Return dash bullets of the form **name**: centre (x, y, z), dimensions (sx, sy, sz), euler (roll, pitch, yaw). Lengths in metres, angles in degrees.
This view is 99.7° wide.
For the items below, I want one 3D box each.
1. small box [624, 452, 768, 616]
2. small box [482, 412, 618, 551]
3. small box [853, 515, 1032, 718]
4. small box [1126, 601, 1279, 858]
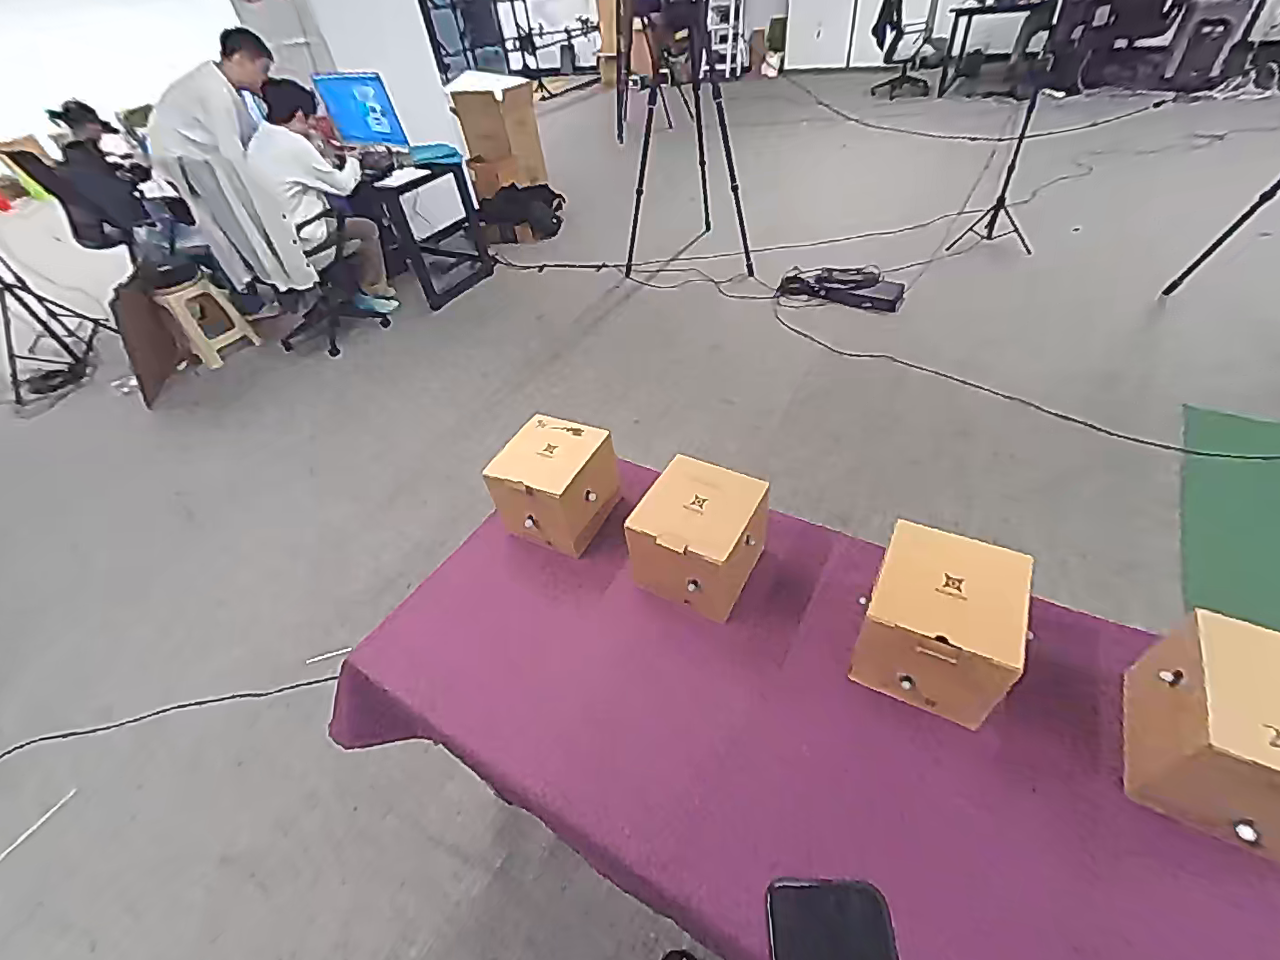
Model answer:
- **small box**: centre (0.097, 0.089, 0.879), dimensions (0.168, 0.176, 0.179), euler (20, 51, 25)
- **small box**: centre (-0.154, 0.005, 1.005), dimensions (0.168, 0.176, 0.179), euler (16, 51, 23)
- **small box**: centre (0.400, 0.183, 0.732), dimensions (0.168, 0.176, 0.179), euler (17, 51, 25)
- **small box**: centre (0.670, 0.272, 0.589), dimensions (0.168, 0.176, 0.179), euler (18, 51, 27)
